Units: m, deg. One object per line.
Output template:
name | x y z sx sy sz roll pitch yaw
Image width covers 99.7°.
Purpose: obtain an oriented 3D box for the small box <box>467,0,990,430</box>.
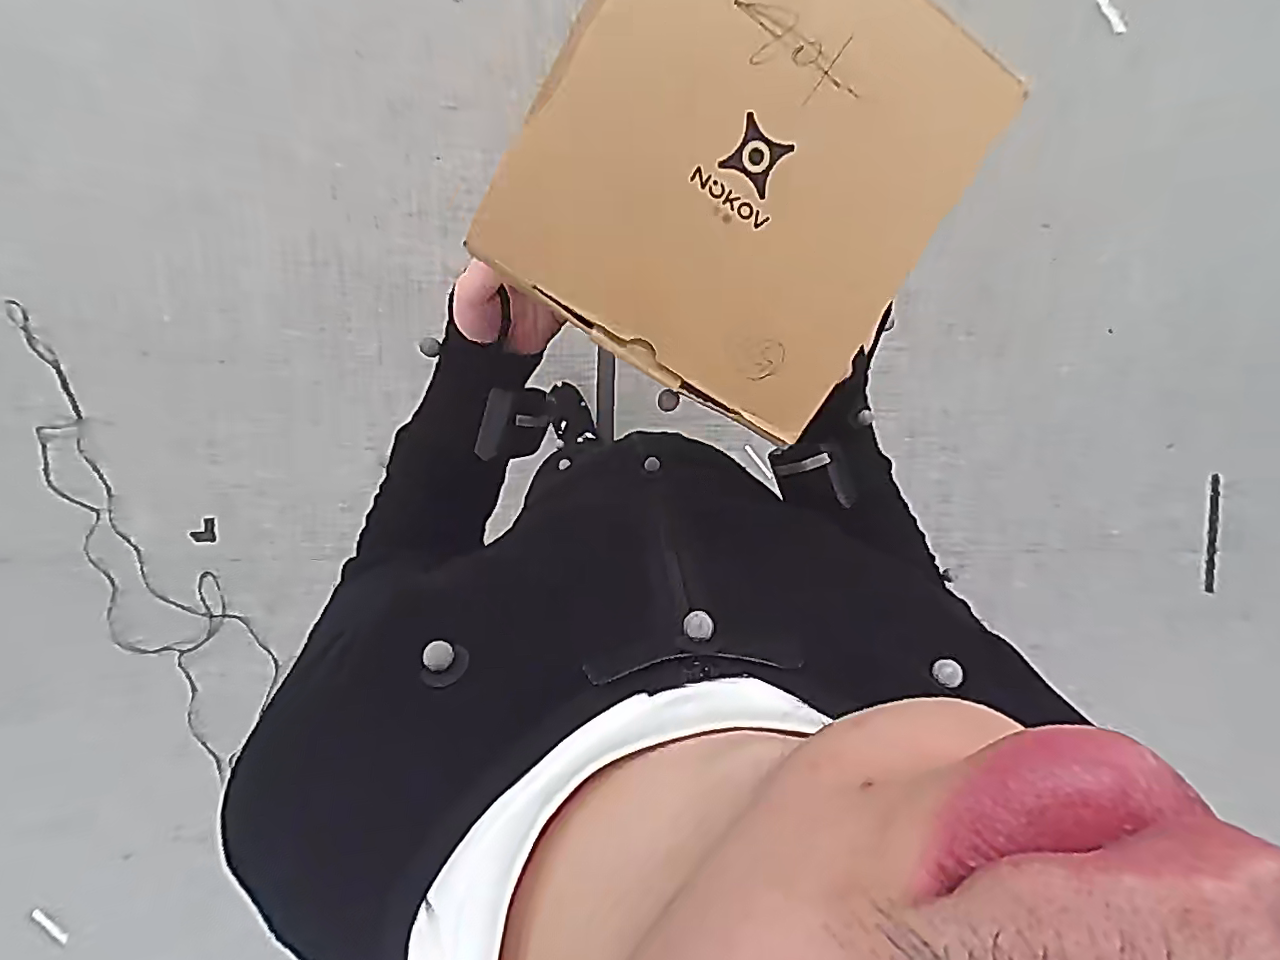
small box | 0.031 -0.153 0.304 0.168 0.176 0.179 29 99 -14
